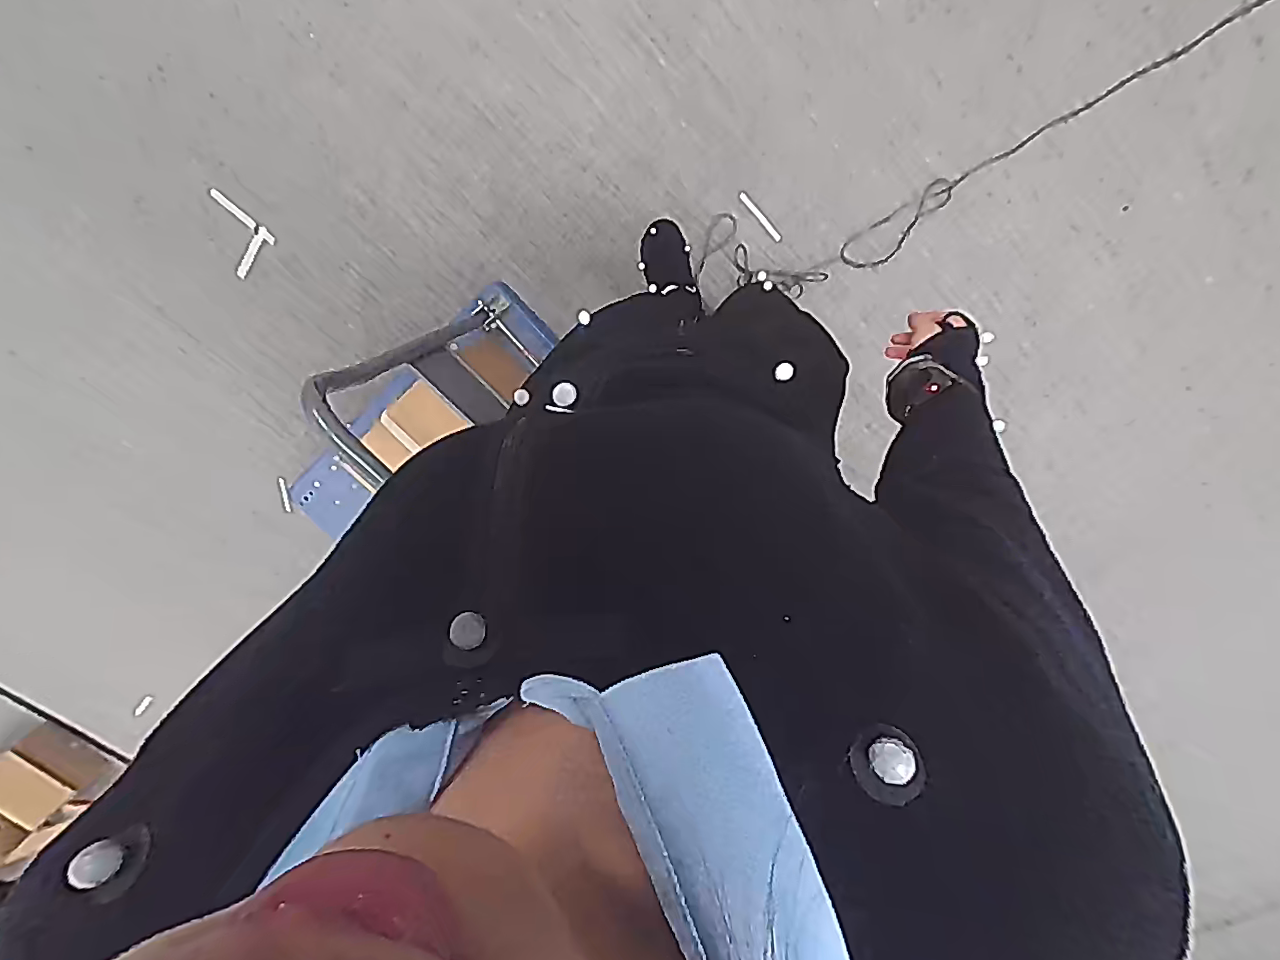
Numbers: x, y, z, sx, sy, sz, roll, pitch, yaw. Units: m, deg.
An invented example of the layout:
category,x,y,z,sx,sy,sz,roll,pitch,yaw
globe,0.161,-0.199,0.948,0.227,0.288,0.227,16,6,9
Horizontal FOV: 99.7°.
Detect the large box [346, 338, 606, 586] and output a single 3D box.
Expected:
category,x,y,z,sx,sy,sz,roll,pitch,yaw
large box,-0.337,-0.048,1.222,0.320,0.320,0.408,-36,105,19
